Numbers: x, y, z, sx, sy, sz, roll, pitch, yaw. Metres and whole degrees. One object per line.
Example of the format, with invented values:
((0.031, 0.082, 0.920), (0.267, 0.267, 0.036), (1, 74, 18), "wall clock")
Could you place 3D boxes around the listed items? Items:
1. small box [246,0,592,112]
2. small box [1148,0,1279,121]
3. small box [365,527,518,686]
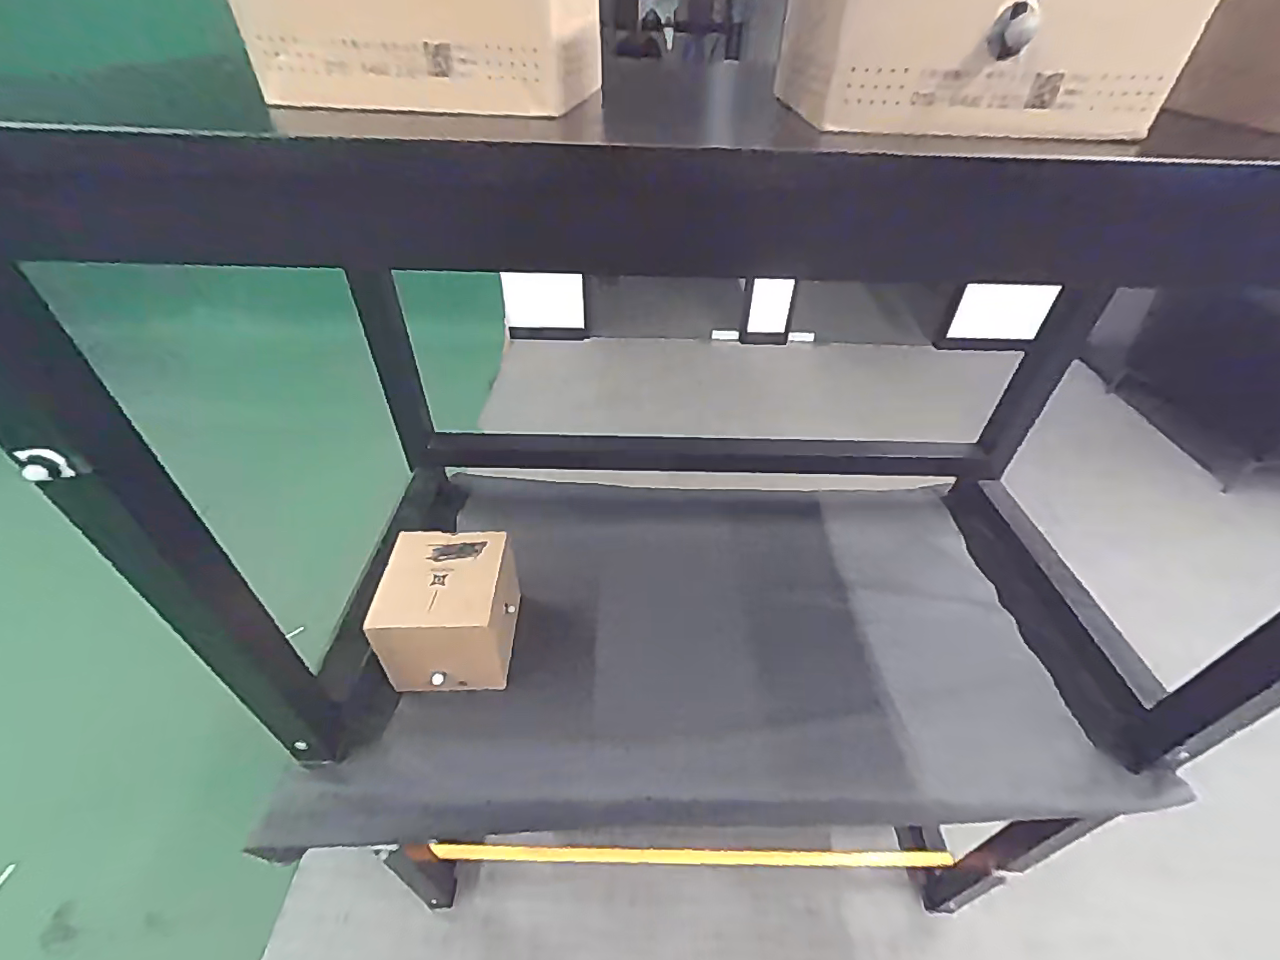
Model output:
((-0.121, -0.323, 0.313), (0.168, 0.176, 0.179), (4, 40, 2), "small box")
((0.452, -0.295, 0.292), (0.168, 0.176, 0.179), (7, 41, 6), "small box")
((-0.285, 0.192, 0.825), (0.168, 0.176, 0.179), (0, 41, -3), "small box")
